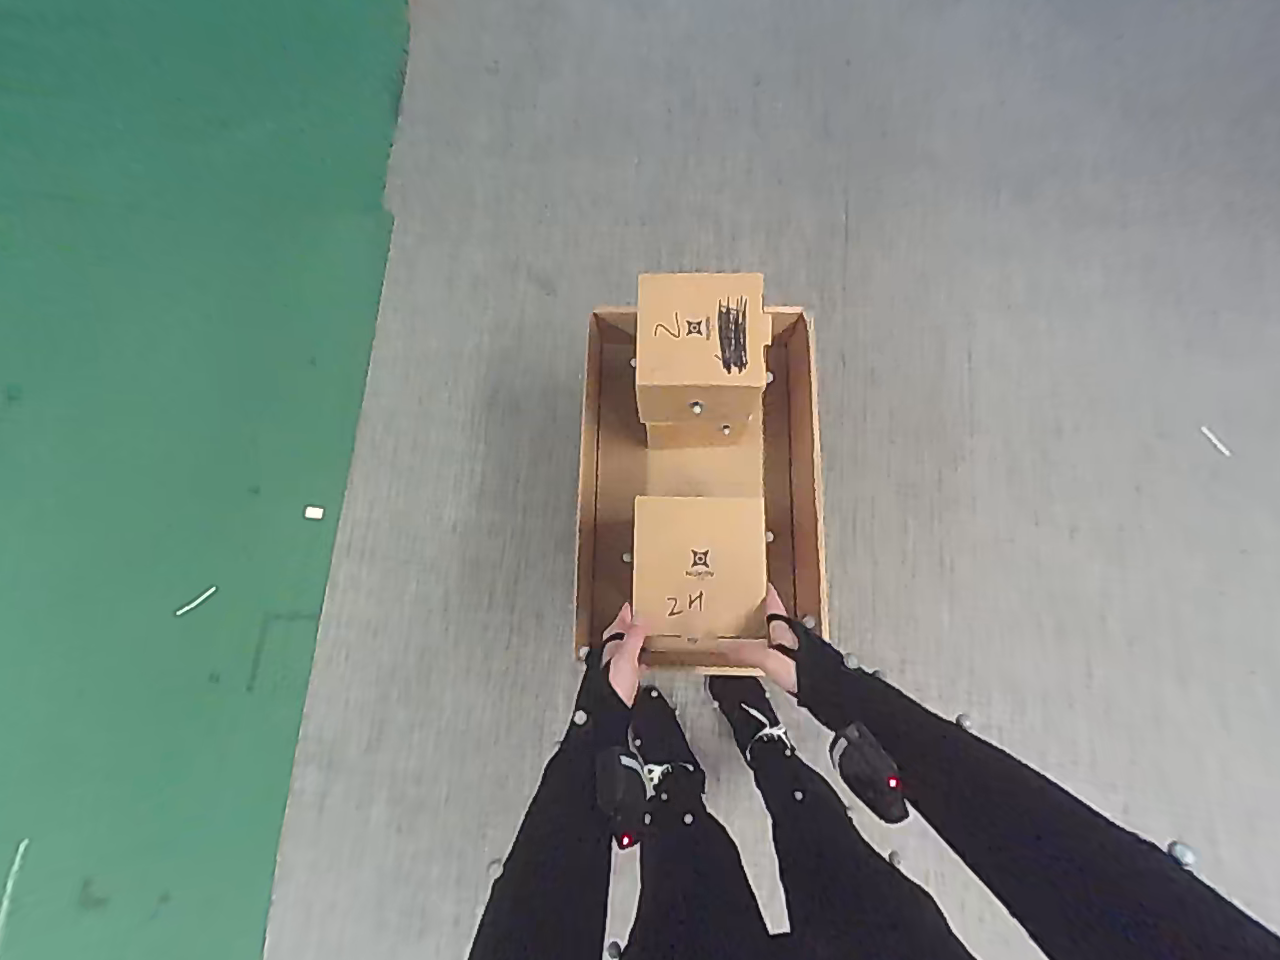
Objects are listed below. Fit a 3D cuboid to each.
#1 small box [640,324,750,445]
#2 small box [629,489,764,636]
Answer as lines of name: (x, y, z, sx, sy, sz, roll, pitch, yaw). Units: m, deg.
small box: (0.091, -0.163, 0.967, 0.179, 0.176, 0.168, -2, 79, 0)
small box: (0.073, 0.115, 0.745, 0.168, 0.176, 0.179, 2, 79, 2)
